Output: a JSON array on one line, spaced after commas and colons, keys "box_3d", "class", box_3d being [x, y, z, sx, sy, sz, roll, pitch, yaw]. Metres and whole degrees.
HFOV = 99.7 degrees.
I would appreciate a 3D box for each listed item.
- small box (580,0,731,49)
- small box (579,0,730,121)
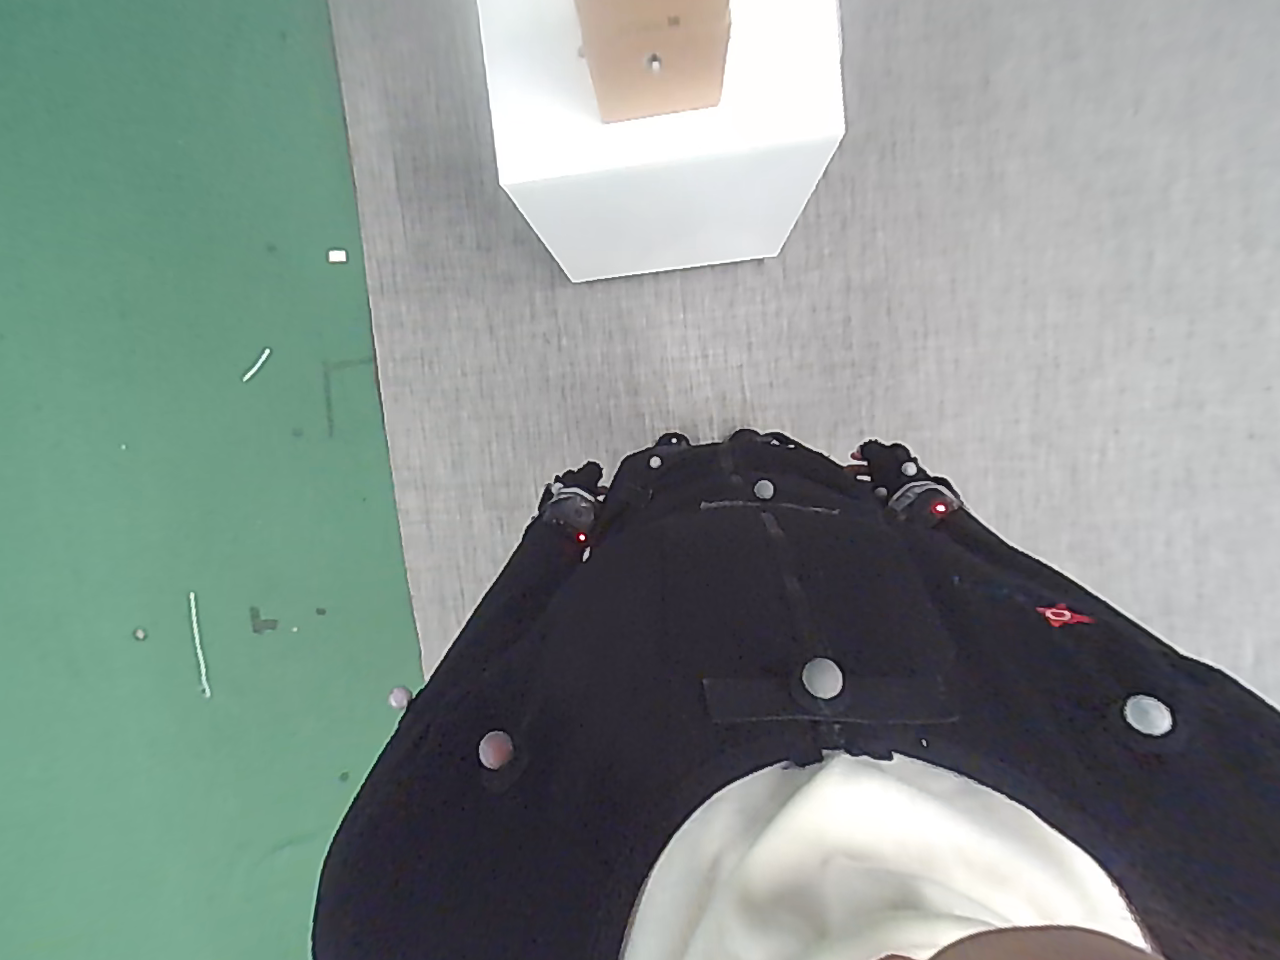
[{"box_3d": [0.007, -0.592, 0.545, 0.168, 0.176, 0.179, -7, 96, 4], "class": "small box"}, {"box_3d": [0.017, -0.604, 0.706, 0.179, 0.176, 0.168, -6, 95, 4], "class": "small box"}]
